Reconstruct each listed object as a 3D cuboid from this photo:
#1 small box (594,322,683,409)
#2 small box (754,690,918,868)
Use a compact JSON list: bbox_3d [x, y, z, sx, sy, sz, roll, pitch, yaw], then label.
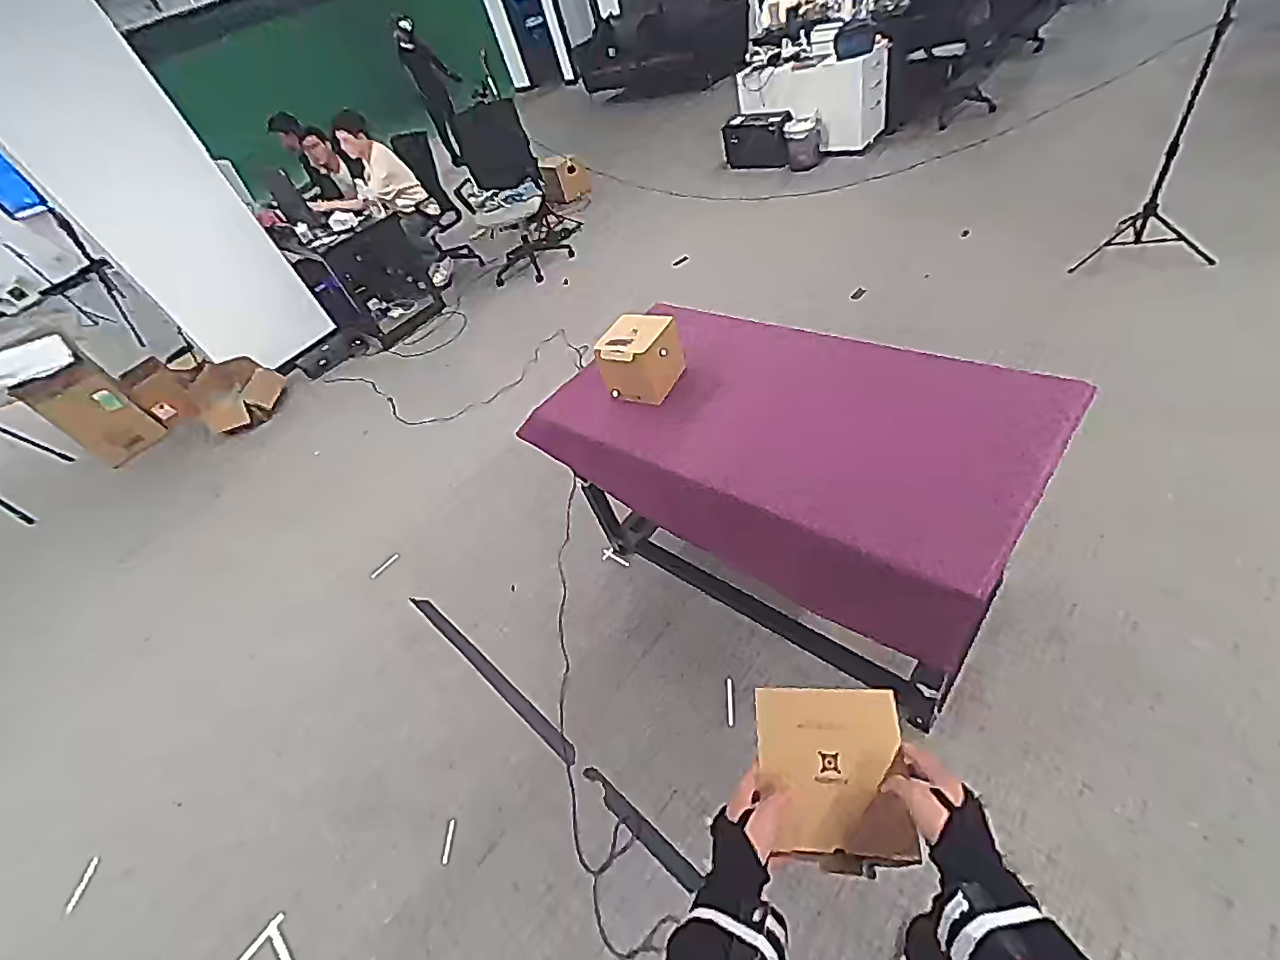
[{"bbox_3d":[0.005,-0.317,1.502,0.168,0.176,0.179,13,53,30],"label":"small box"},{"bbox_3d":[0.237,0.380,0.688,0.168,0.176,0.179,-4,52,13],"label":"small box"}]
